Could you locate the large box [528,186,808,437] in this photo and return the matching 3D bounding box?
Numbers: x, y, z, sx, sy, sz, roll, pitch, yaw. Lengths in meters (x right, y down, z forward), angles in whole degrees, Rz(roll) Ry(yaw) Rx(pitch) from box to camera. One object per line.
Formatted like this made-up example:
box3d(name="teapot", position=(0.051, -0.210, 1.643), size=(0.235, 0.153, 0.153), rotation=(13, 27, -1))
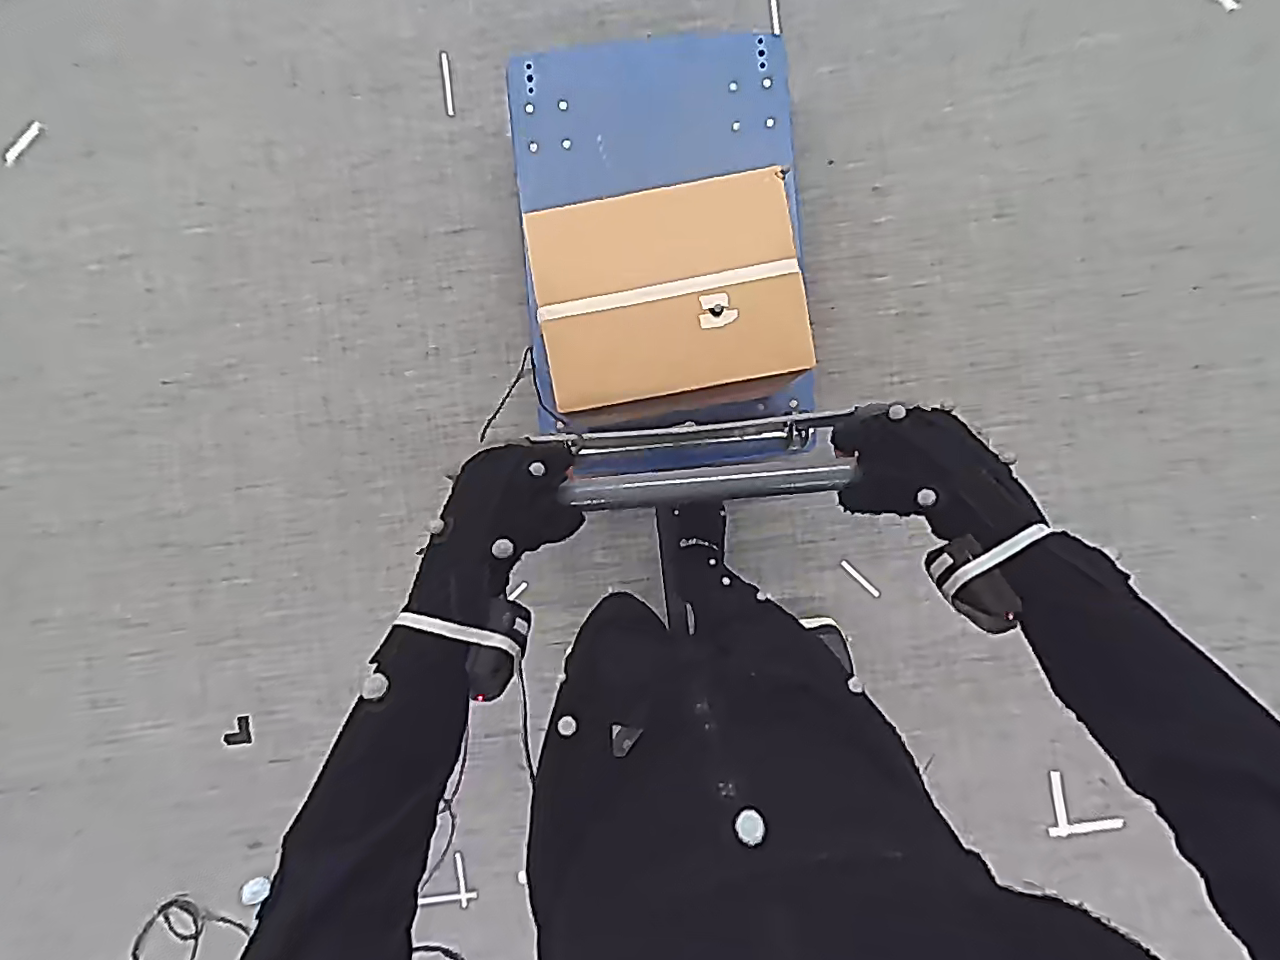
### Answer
box3d(name="large box", position=(0.044, -0.277, 1.001), size=(0.408, 0.320, 0.320), rotation=(-10, 91, 1))
